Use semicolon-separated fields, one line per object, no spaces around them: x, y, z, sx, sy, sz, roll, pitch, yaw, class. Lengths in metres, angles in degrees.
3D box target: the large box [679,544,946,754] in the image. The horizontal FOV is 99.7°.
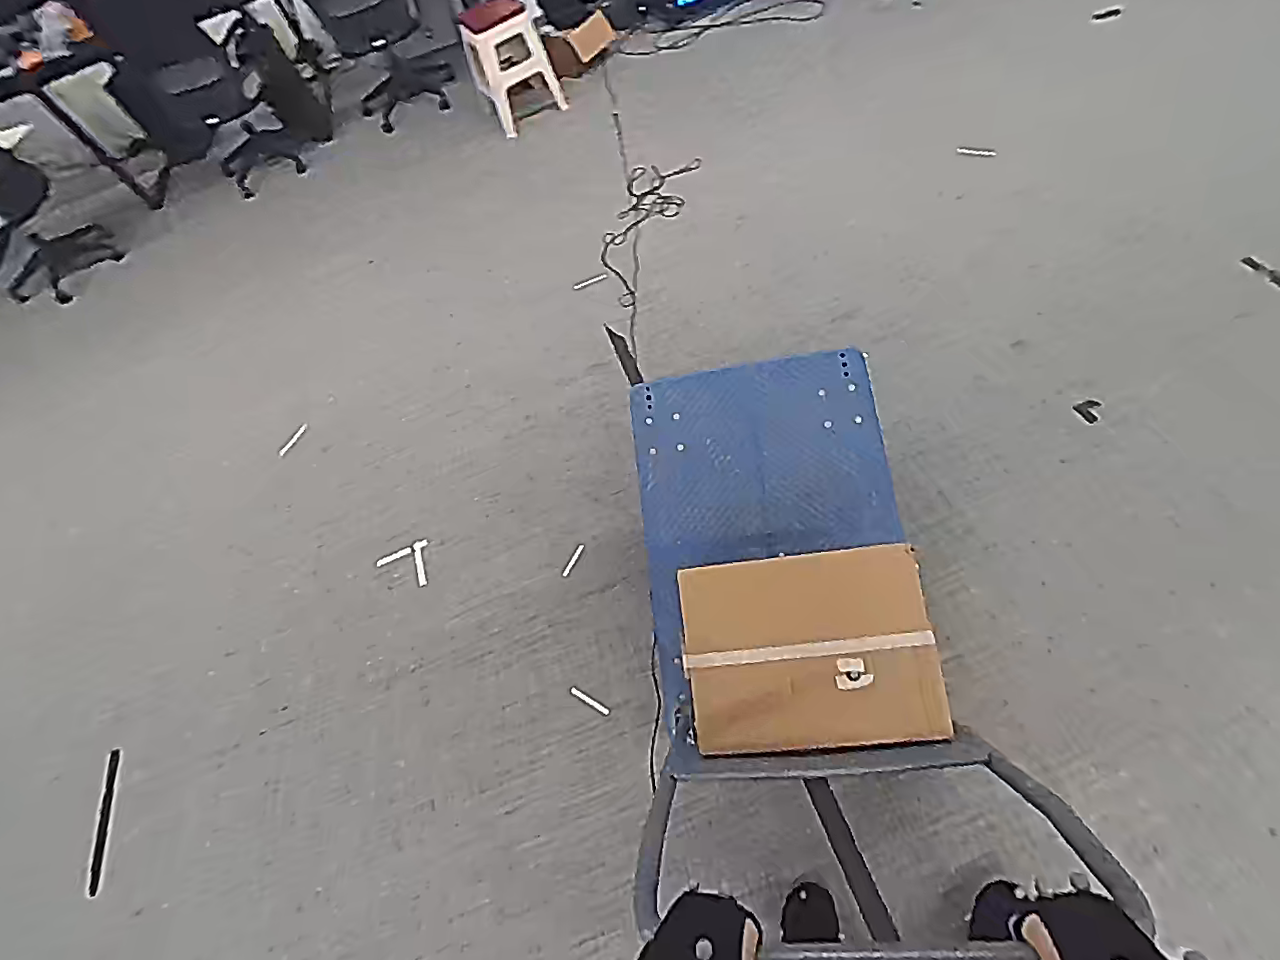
0.306;0.319;1.073;0.408;0.320;0.320;-8;78;8;large box
